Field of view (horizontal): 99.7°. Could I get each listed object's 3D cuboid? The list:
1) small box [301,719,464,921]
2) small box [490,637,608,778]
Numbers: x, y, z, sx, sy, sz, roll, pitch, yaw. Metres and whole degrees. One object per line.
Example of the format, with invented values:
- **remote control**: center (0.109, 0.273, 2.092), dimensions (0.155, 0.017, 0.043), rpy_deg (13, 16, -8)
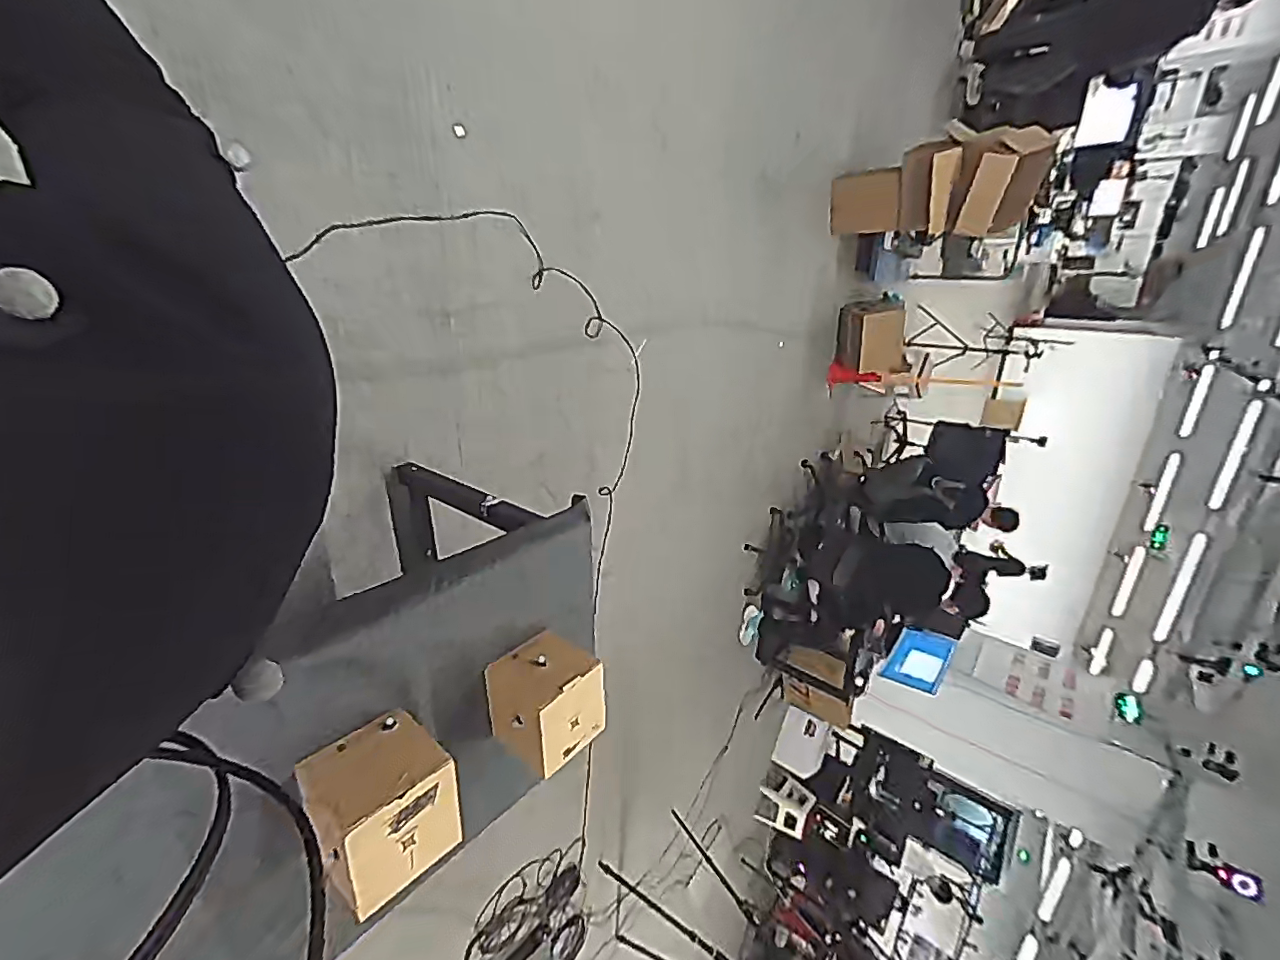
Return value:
- **small box**: center (-0.396, 0.504, 0.837), dimensions (0.168, 0.176, 0.179), rpy_deg (-20, 120, -46)
- **small box**: center (-0.182, 0.439, 1.081), dimensions (0.168, 0.176, 0.179), rpy_deg (-24, 121, -45)
